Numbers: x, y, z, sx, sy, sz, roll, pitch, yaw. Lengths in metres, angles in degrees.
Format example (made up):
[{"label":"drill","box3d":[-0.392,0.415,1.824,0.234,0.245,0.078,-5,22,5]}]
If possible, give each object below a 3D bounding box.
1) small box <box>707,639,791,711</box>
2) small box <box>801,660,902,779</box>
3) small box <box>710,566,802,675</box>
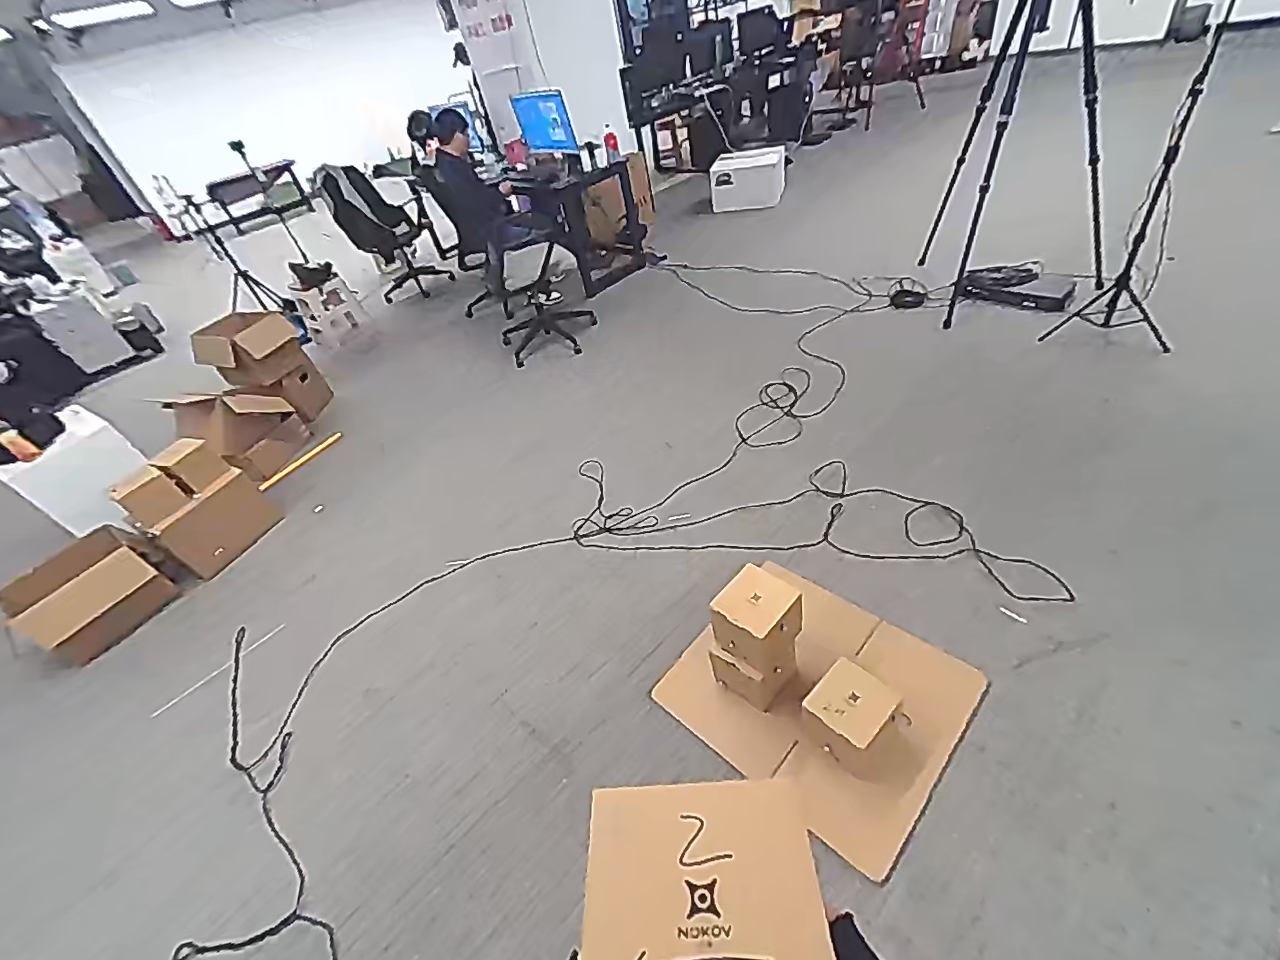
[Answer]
[{"label":"small box","box3d":[0.311,0.502,1.504,0.168,0.176,0.179,24,53,37]},{"label":"small box","box3d":[0.518,0.593,1.340,0.179,0.176,0.168,-37,44,-23]},{"label":"small box","box3d":[0.302,0.366,1.409,0.168,0.176,0.179,27,55,38]}]
